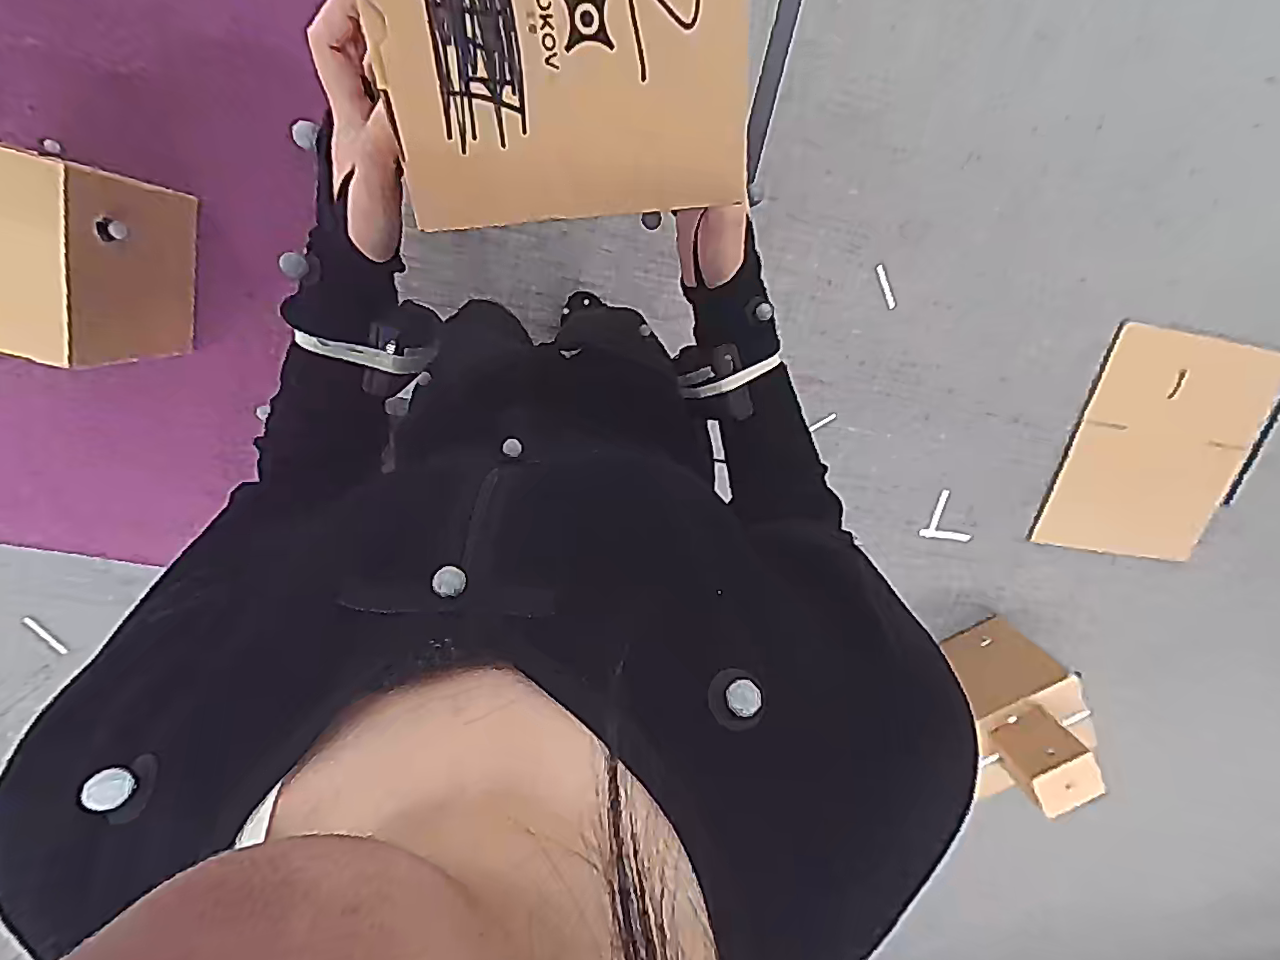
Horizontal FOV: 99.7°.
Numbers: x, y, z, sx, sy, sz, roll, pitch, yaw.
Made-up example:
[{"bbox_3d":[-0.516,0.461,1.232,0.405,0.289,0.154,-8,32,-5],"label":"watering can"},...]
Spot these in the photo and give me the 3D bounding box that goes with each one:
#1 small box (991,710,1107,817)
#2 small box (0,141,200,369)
[{"bbox_3d":[1.134,0.782,1.509,0.179,0.176,0.168,-30,108,6],"label":"small box"},{"bbox_3d":[-0.575,-0.223,0.530,0.168,0.176,0.179,13,107,-10],"label":"small box"}]
